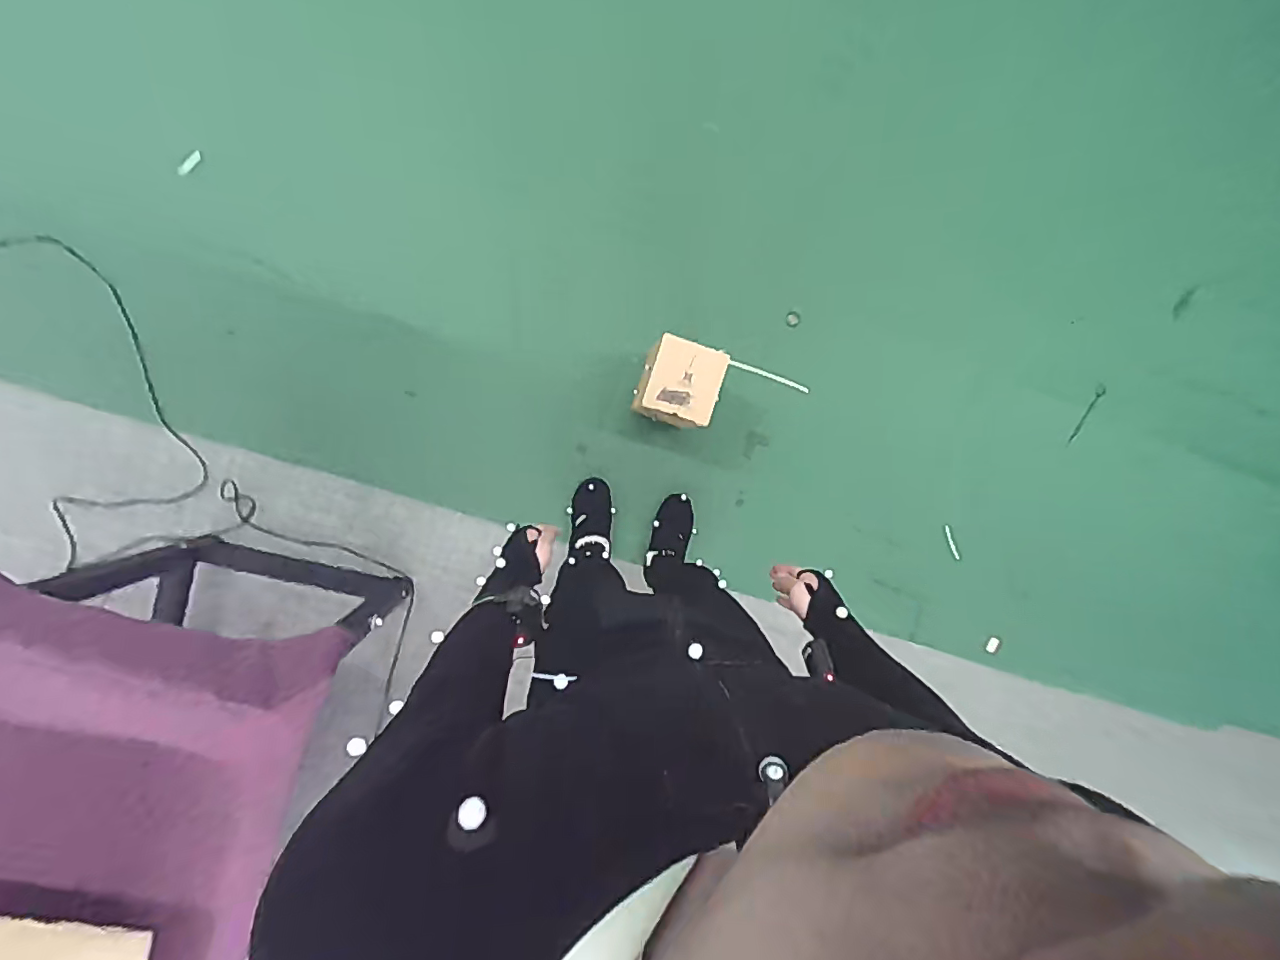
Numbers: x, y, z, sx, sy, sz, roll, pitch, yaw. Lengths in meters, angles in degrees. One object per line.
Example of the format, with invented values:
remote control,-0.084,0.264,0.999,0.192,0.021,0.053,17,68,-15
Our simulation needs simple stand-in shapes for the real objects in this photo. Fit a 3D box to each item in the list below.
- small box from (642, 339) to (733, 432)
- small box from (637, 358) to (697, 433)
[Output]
small box,0.107,-0.222,1.324,0.168,0.176,0.179,17,92,-6
small box,0.093,-0.235,1.487,0.168,0.176,0.179,17,94,-6
